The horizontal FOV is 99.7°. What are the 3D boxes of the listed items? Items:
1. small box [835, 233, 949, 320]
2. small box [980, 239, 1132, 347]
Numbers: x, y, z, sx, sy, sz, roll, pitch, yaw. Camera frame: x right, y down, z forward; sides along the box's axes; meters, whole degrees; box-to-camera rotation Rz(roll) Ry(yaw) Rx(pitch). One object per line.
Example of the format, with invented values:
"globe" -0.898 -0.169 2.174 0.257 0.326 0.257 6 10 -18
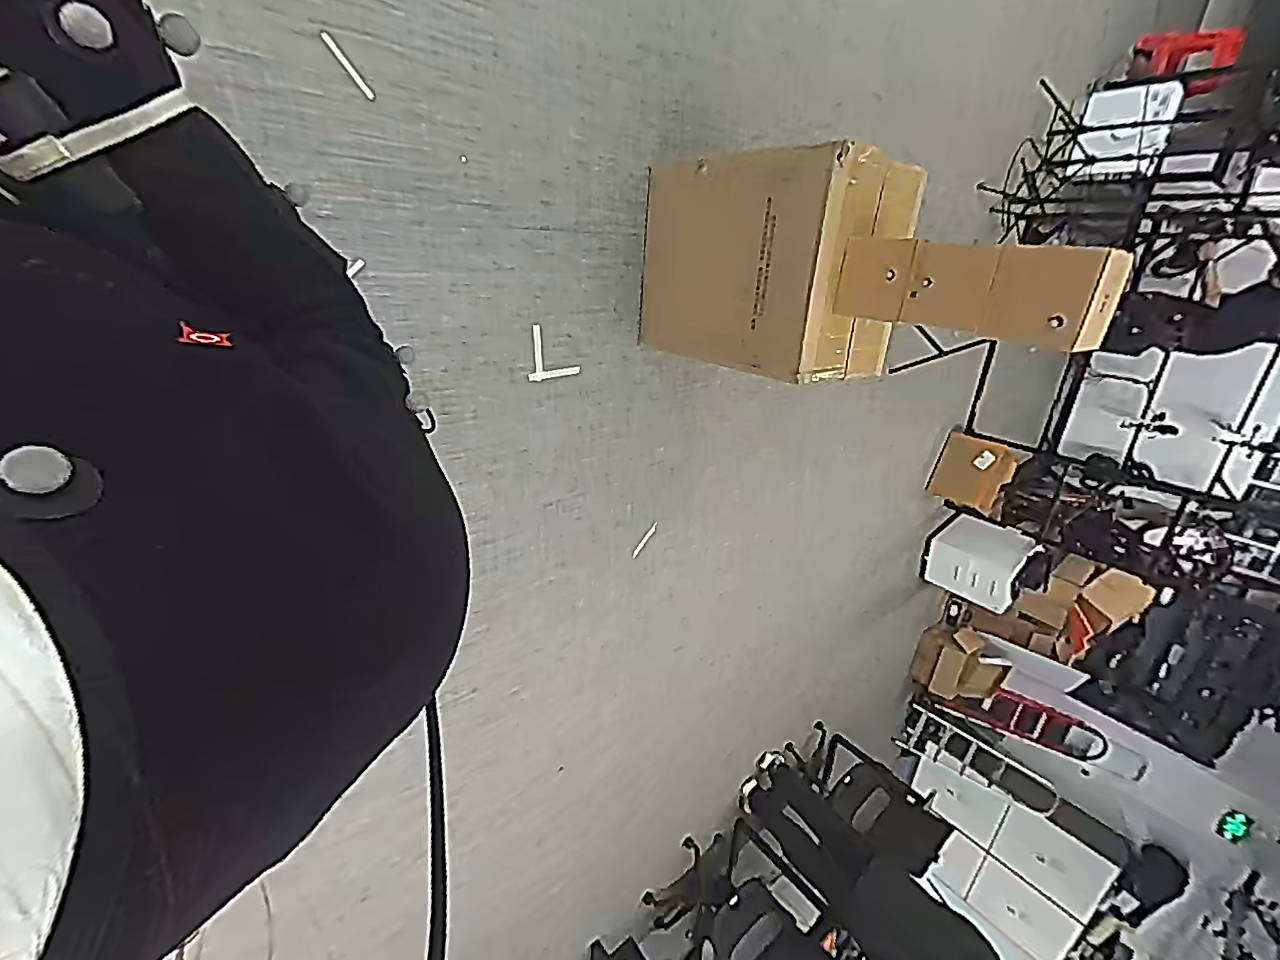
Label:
"small box" 0.585 -0.478 1.271 0.168 0.176 0.179 -12 118 -37
"small box" 0.791 -0.361 1.042 0.168 0.176 0.179 -13 118 -37
